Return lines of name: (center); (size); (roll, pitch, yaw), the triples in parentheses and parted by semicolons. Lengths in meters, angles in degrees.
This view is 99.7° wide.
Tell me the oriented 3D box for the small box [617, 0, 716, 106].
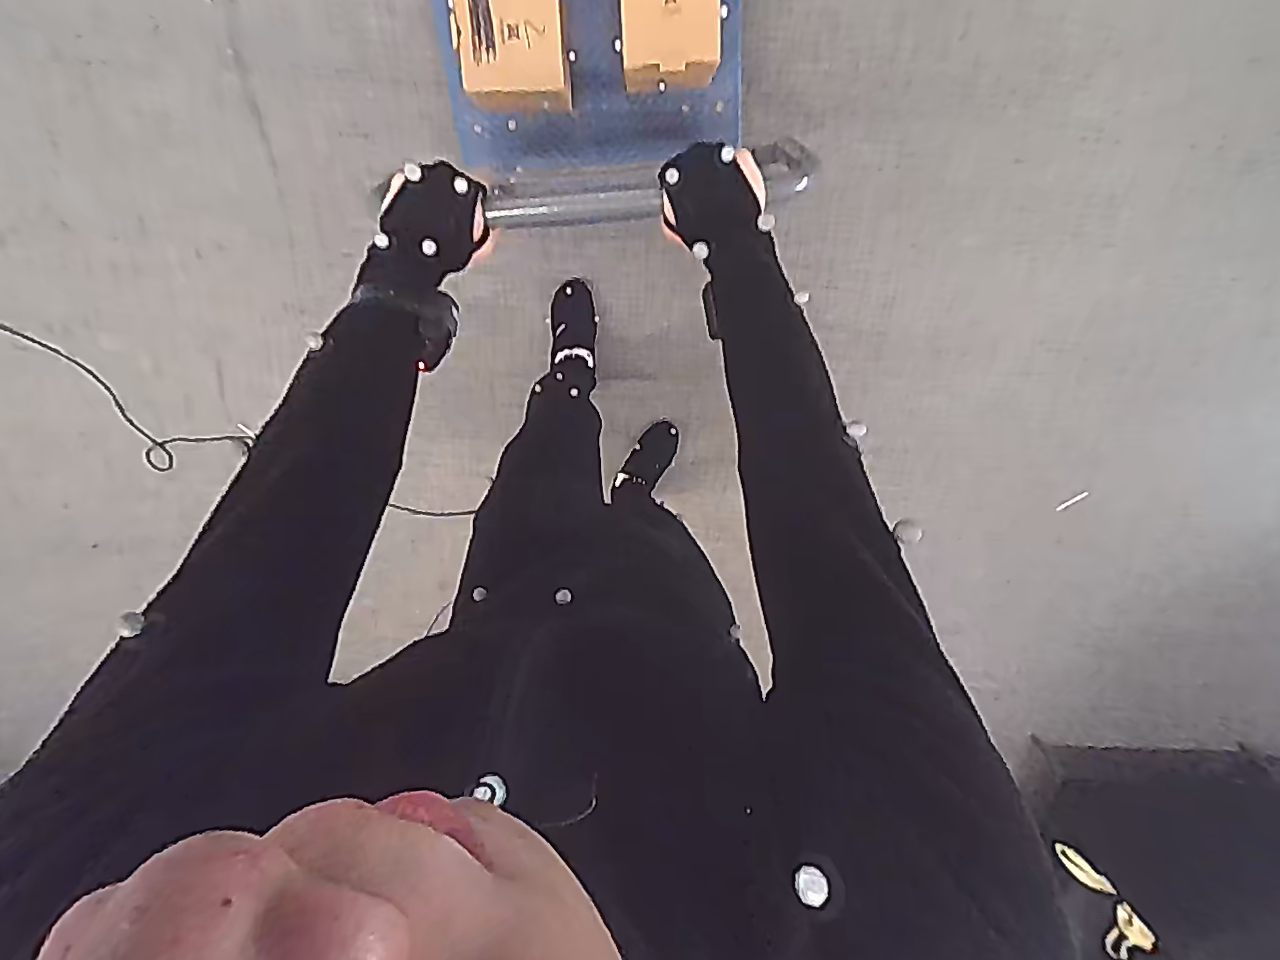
small box: (0.045, -0.813, 0.988); (0.168, 0.176, 0.179); (-4, 114, 0)
